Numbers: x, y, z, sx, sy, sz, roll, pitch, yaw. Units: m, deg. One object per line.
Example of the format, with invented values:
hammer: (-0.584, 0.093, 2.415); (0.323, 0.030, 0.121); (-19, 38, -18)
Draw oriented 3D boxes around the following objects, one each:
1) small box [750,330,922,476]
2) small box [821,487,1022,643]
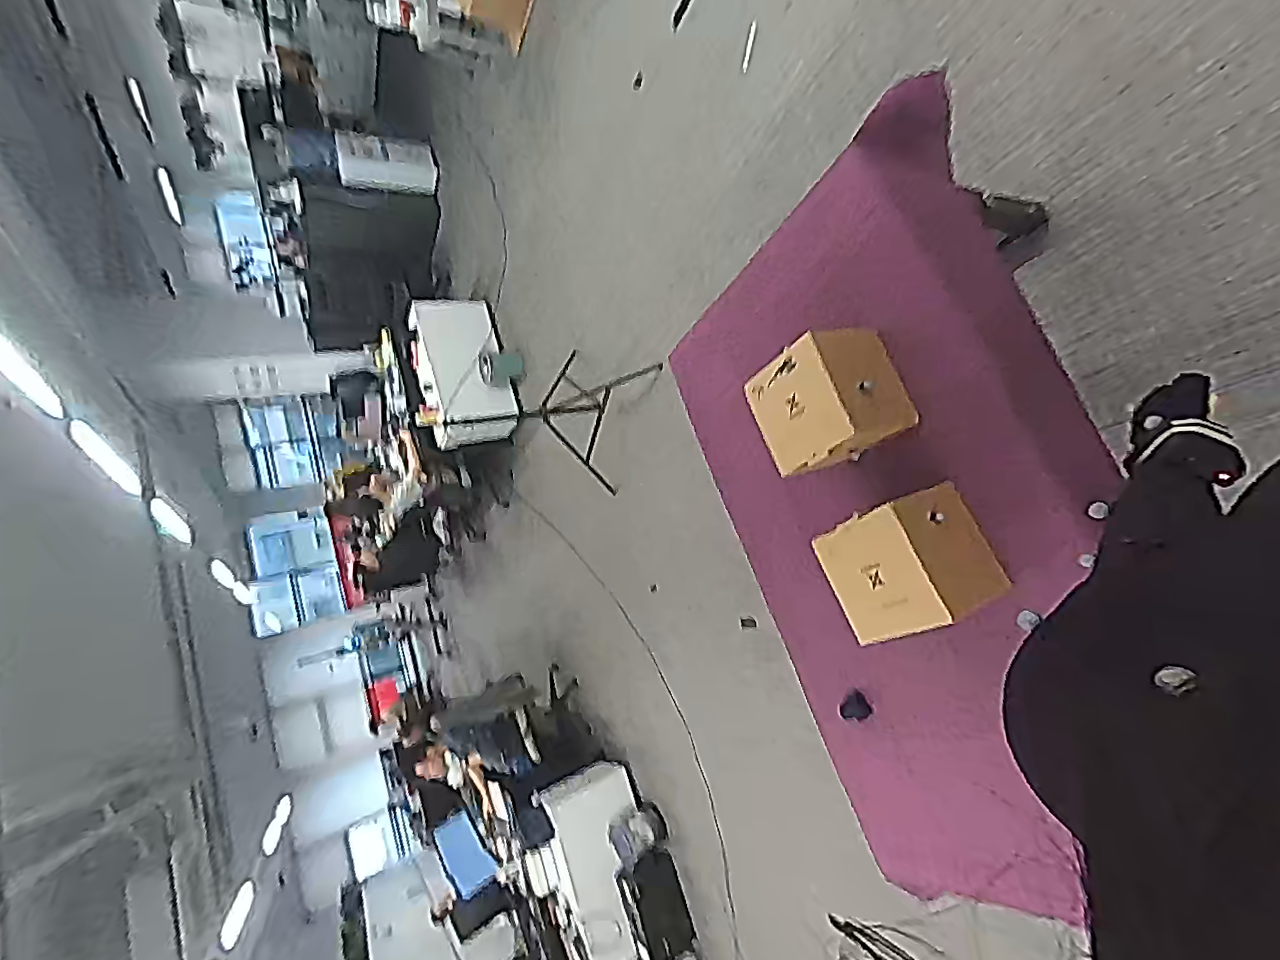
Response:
small box: (0.321, -0.129, 0.889); (0.168, 0.176, 0.179); (-41, 67, 55)
small box: (0.421, 0.123, 0.819); (0.179, 0.176, 0.168); (66, 148, 17)
